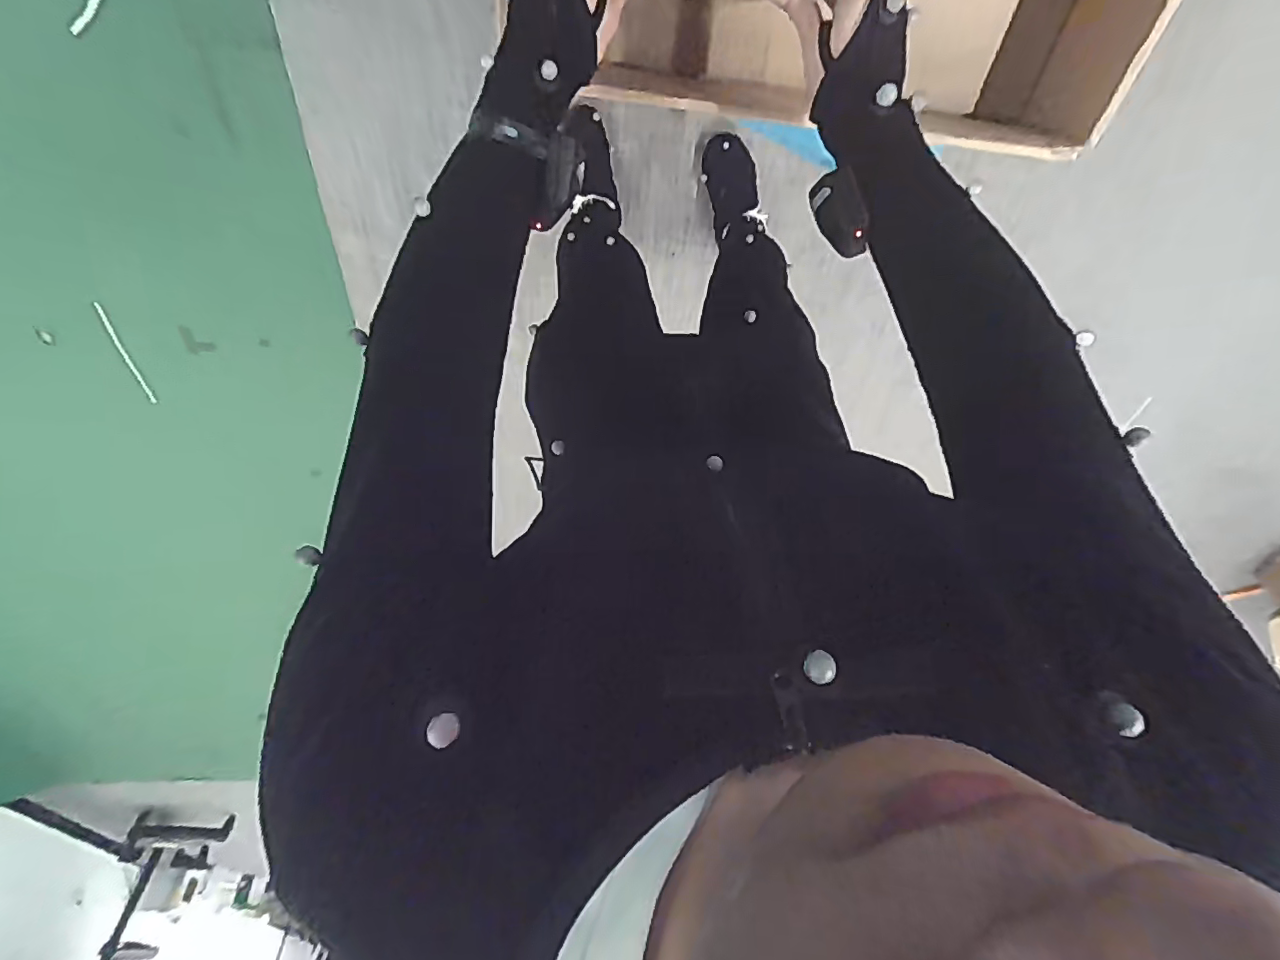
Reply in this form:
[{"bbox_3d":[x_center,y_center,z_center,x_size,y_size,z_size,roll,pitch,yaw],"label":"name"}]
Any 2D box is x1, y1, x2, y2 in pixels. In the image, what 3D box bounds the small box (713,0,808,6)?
[{"bbox_3d":[0.064,-0.519,0.443,0.168,0.176,0.179,2,130,-10],"label":"small box"}]
